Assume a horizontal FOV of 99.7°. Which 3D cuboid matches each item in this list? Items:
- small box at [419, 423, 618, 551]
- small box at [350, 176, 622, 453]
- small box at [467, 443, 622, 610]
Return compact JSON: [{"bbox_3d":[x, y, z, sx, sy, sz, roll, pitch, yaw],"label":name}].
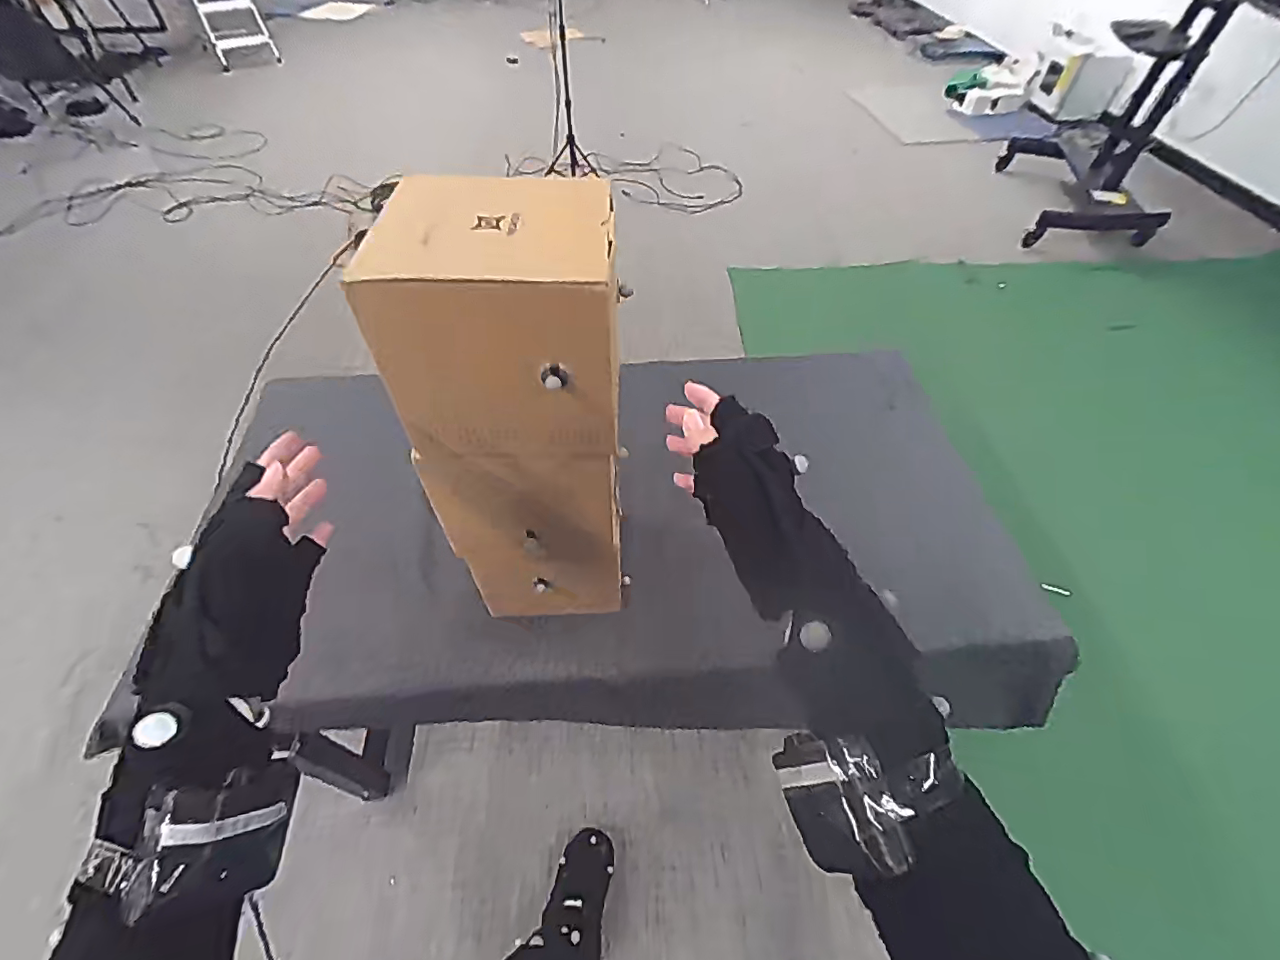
[{"bbox_3d":[-0.113,-0.034,0.589,0.179,0.176,0.168,0,51,-2],"label":"small box"},{"bbox_3d":[-0.103,-0.135,0.462,0.179,0.176,0.168,-1,50,-1],"label":"small box"},{"bbox_3d":[-0.113,0.062,0.721,0.179,0.176,0.168,-2,51,-2],"label":"small box"}]
